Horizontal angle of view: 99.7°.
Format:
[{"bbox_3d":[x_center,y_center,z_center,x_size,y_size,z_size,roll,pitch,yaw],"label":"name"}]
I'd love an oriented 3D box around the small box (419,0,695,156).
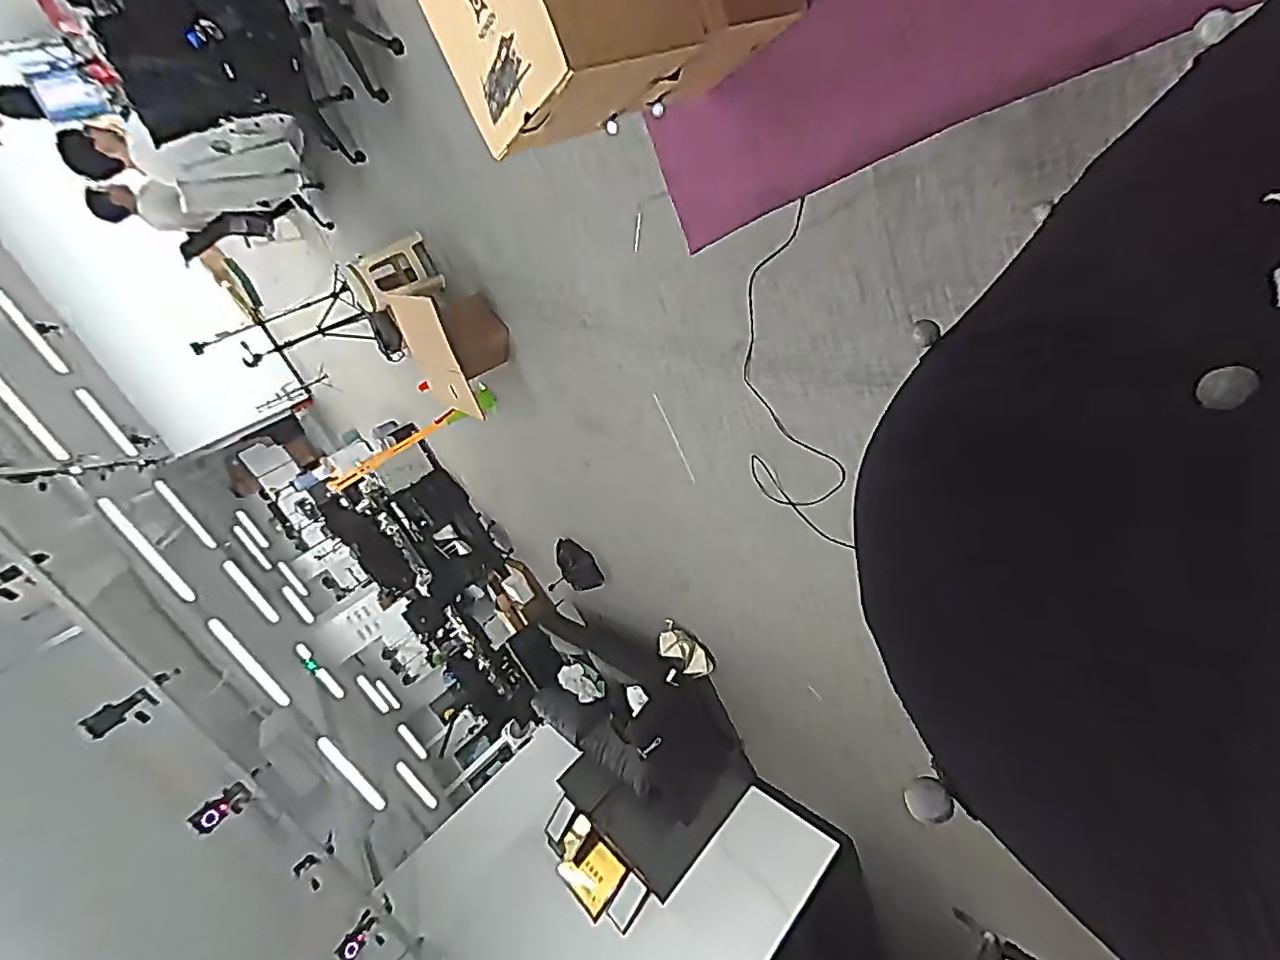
[{"bbox_3d":[-0.077,-0.438,0.493,0.168,0.176,0.179,7,128,51],"label":"small box"}]
